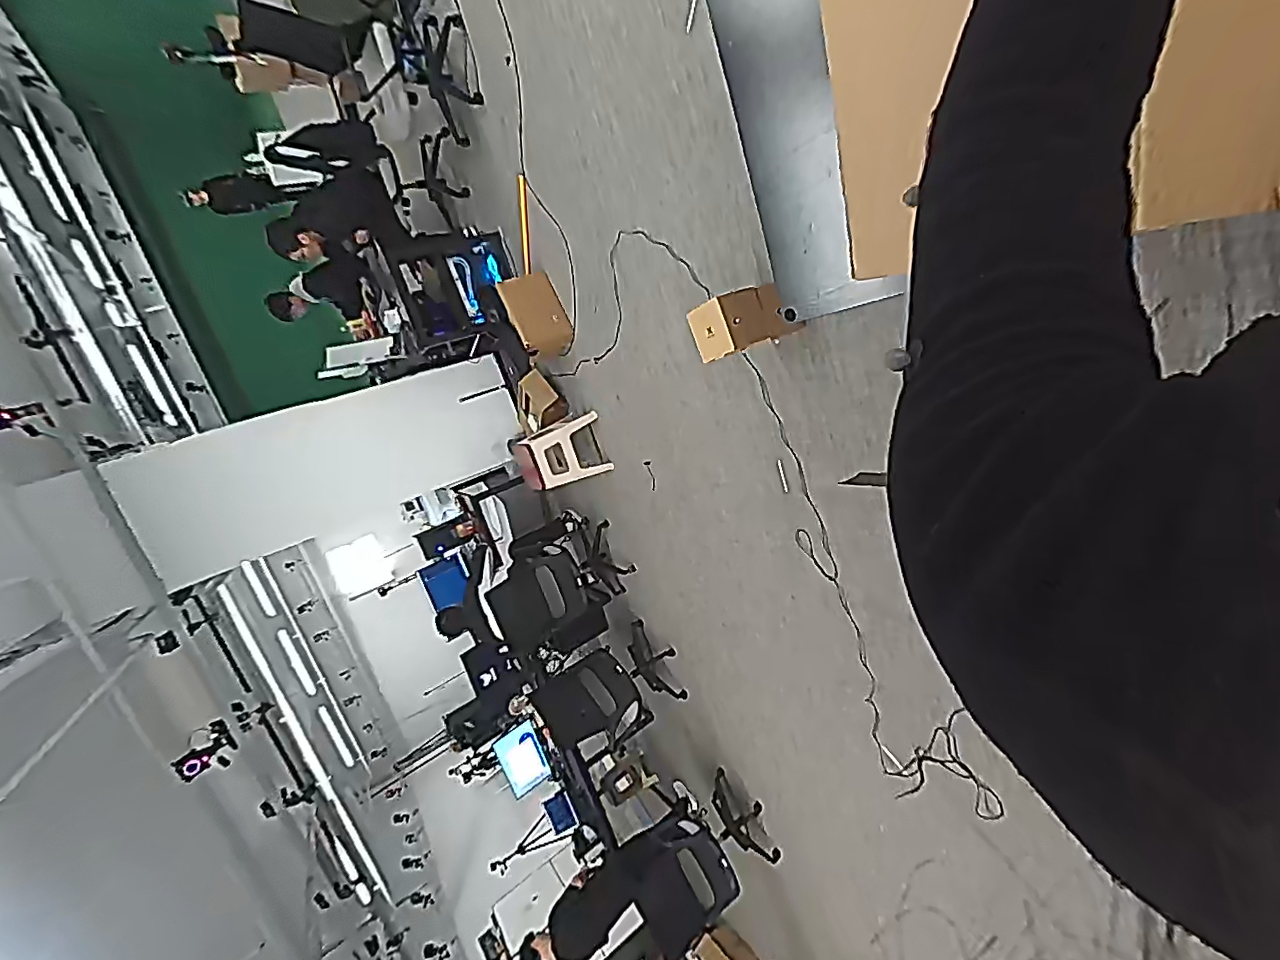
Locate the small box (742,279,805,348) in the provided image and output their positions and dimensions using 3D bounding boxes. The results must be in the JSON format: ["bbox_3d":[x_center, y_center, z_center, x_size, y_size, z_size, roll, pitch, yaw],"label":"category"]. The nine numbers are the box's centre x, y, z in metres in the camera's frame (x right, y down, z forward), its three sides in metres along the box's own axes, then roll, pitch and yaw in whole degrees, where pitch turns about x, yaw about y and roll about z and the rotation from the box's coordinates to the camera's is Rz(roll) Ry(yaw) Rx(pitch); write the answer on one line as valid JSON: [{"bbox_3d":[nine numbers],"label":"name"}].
[{"bbox_3d":[0.425,-0.566,1.830,0.168,0.176,0.179,-2,110,60],"label":"small box"}]

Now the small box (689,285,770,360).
[{"bbox_3d":[0.293,-0.511,1.754,0.168,0.176,0.179,-9,103,60],"label":"small box"}]
